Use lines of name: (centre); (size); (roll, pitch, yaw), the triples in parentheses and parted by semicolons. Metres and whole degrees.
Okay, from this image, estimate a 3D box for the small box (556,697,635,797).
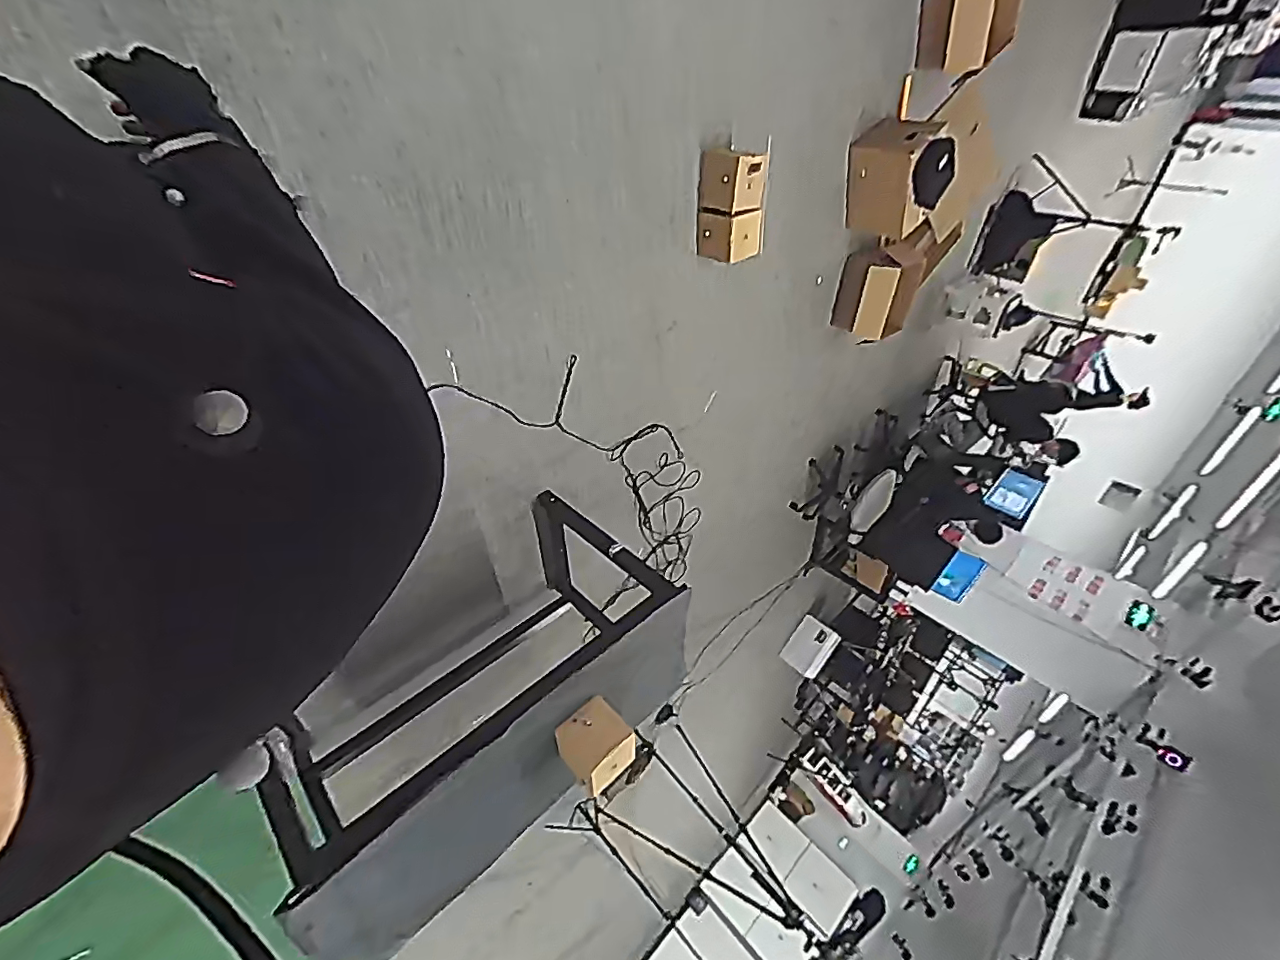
small box: (-0.130, 0.787, 1.609); (0.168, 0.176, 0.179); (-31, 138, -32)
